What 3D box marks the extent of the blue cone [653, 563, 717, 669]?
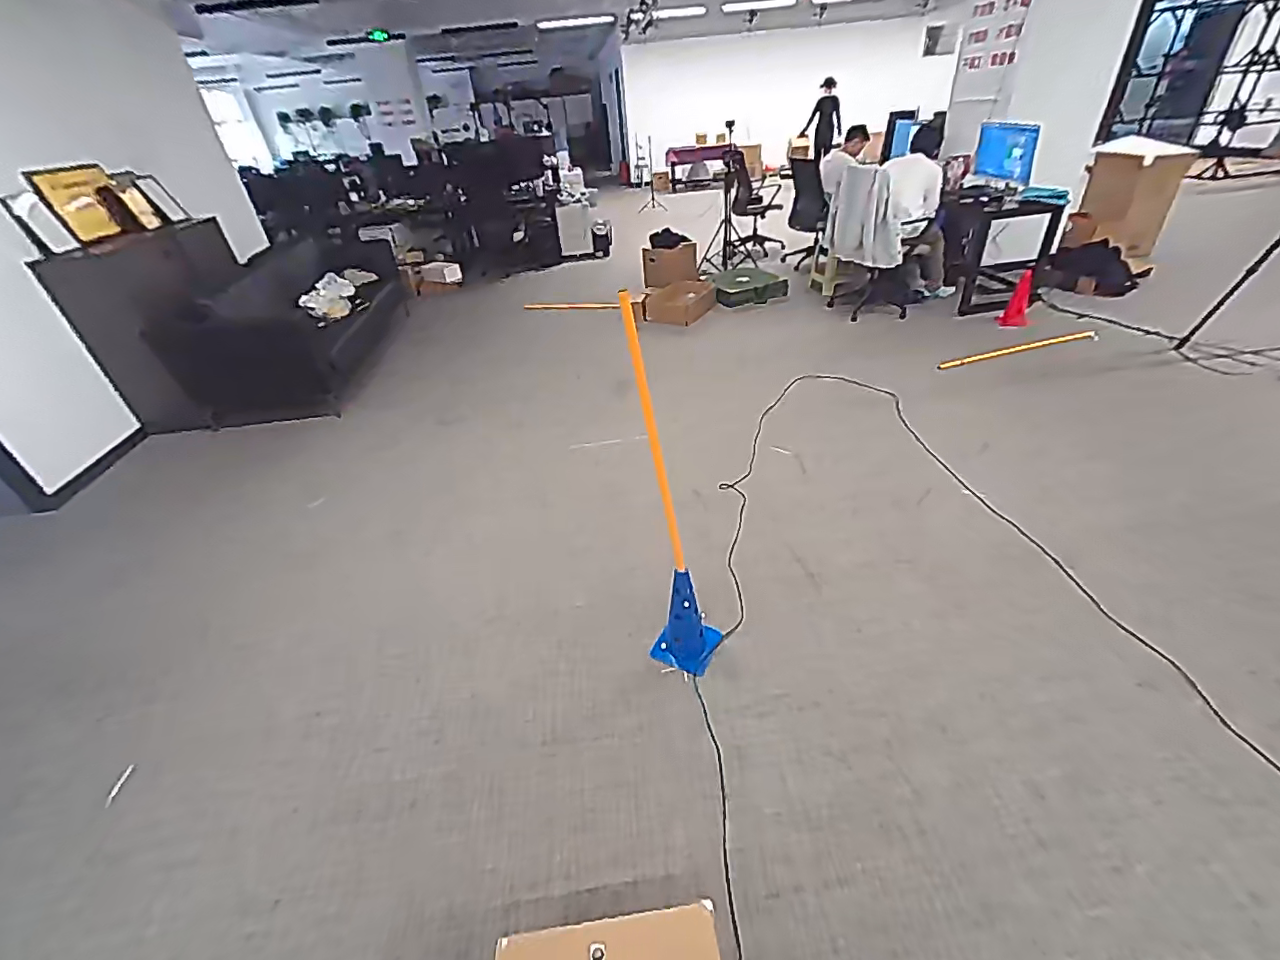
[{"bbox_3d":[0.140,0.419,1.755,0.192,0.380,0.193,12,39,25],"label":"blue cone"}]
